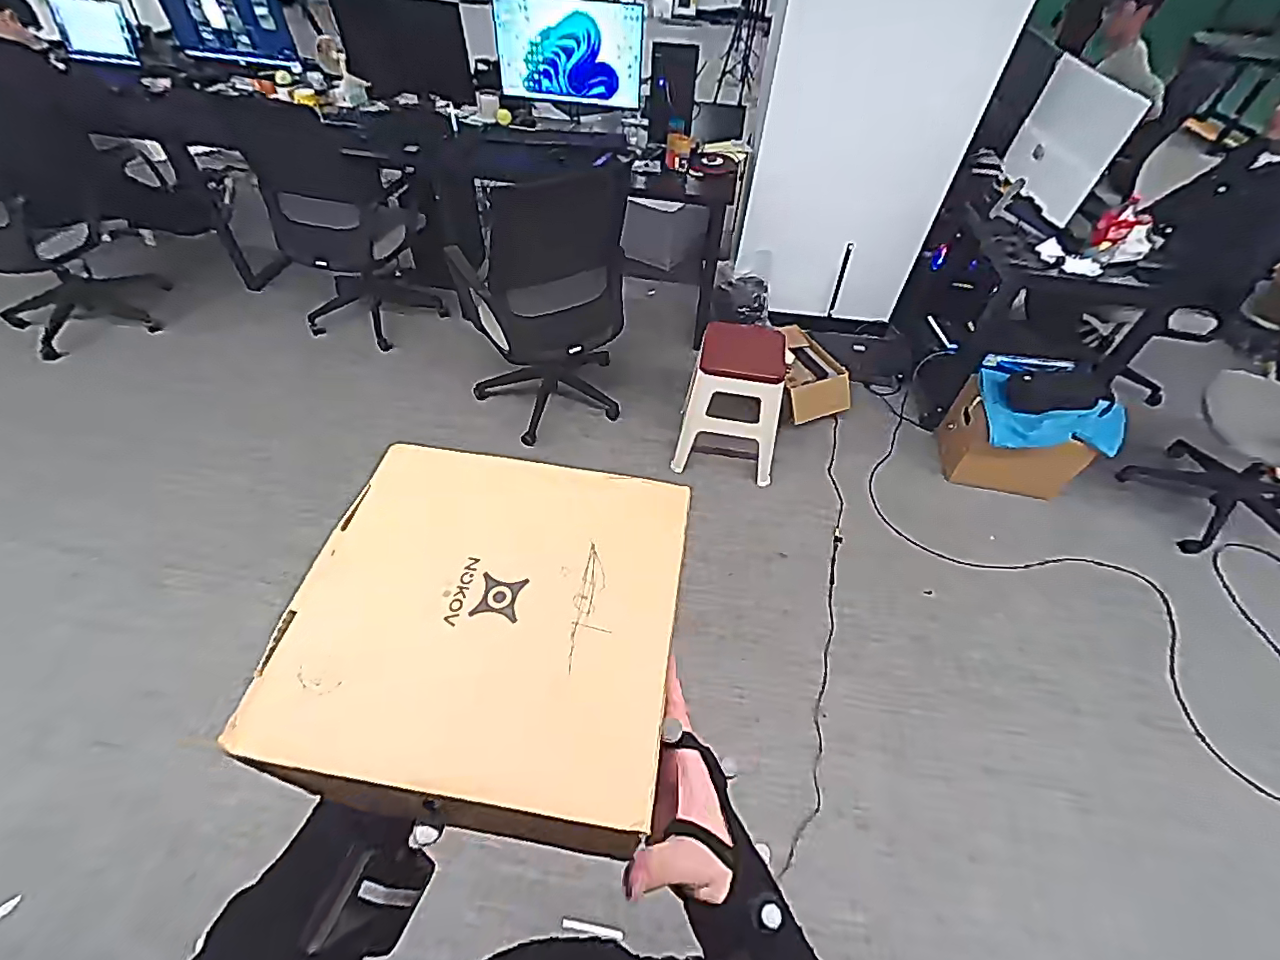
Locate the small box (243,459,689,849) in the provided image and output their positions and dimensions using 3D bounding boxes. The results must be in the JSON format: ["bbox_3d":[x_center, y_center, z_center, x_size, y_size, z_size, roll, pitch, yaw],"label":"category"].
[{"bbox_3d":[-0.073,0.112,0.330,0.179,0.176,0.168,9,53,3],"label":"small box"}]
